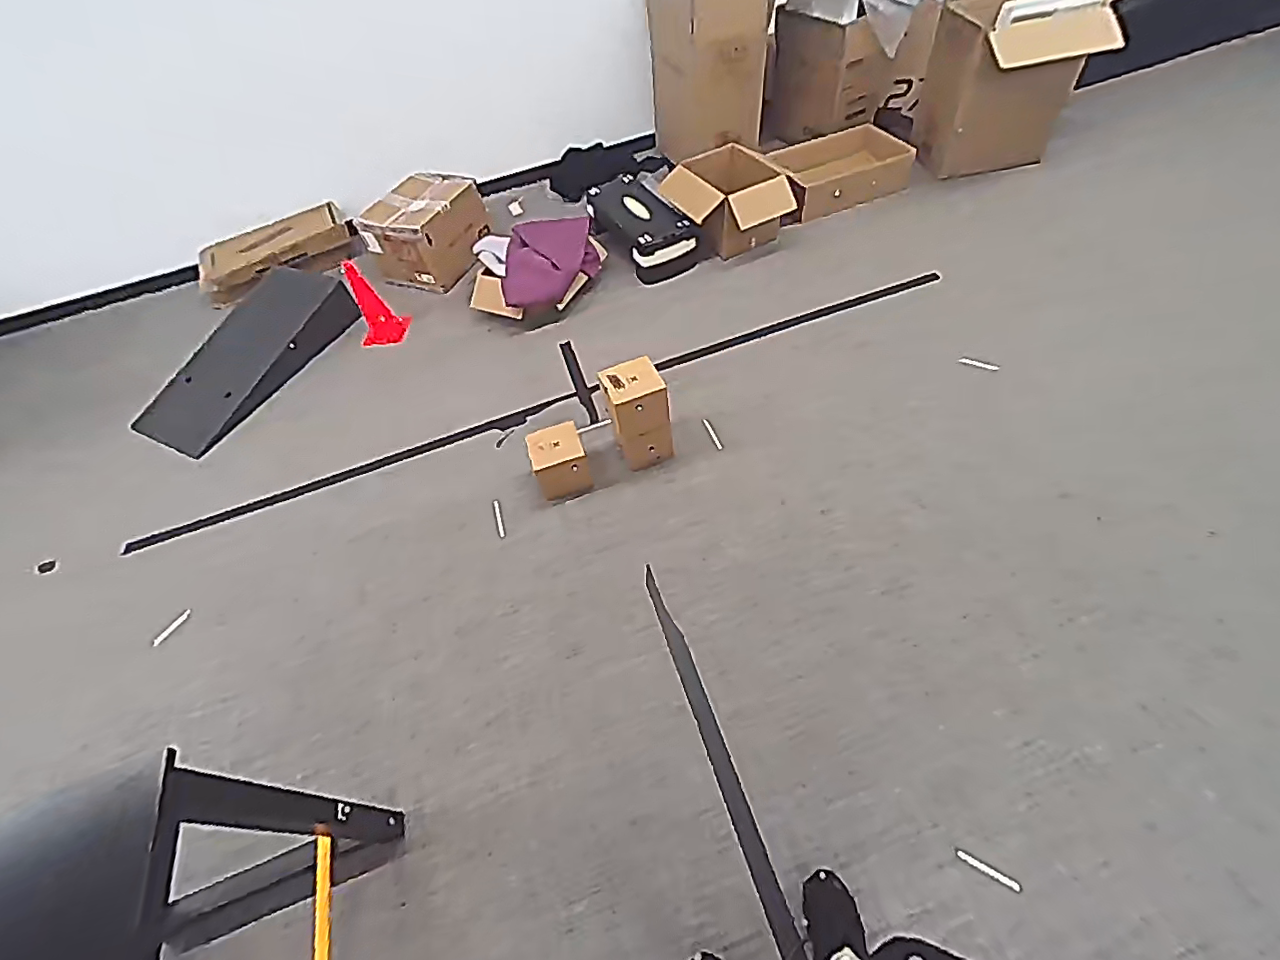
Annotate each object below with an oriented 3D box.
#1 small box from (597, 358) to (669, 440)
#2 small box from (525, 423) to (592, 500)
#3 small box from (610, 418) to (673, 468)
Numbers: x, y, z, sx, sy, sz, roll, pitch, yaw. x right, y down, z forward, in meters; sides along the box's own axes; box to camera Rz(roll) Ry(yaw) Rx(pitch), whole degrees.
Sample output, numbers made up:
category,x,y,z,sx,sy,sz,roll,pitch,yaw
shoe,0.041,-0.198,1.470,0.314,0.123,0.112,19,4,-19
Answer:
category,x,y,z,sx,sy,sz,roll,pitch,yaw
small box,-0.018,-0.256,1.737,0.179,0.176,0.168,-21,53,-8
small box,-0.270,-0.059,1.833,0.179,0.176,0.168,-19,53,-5
small box,0.007,-0.162,1.872,0.168,0.176,0.179,-21,54,-7
